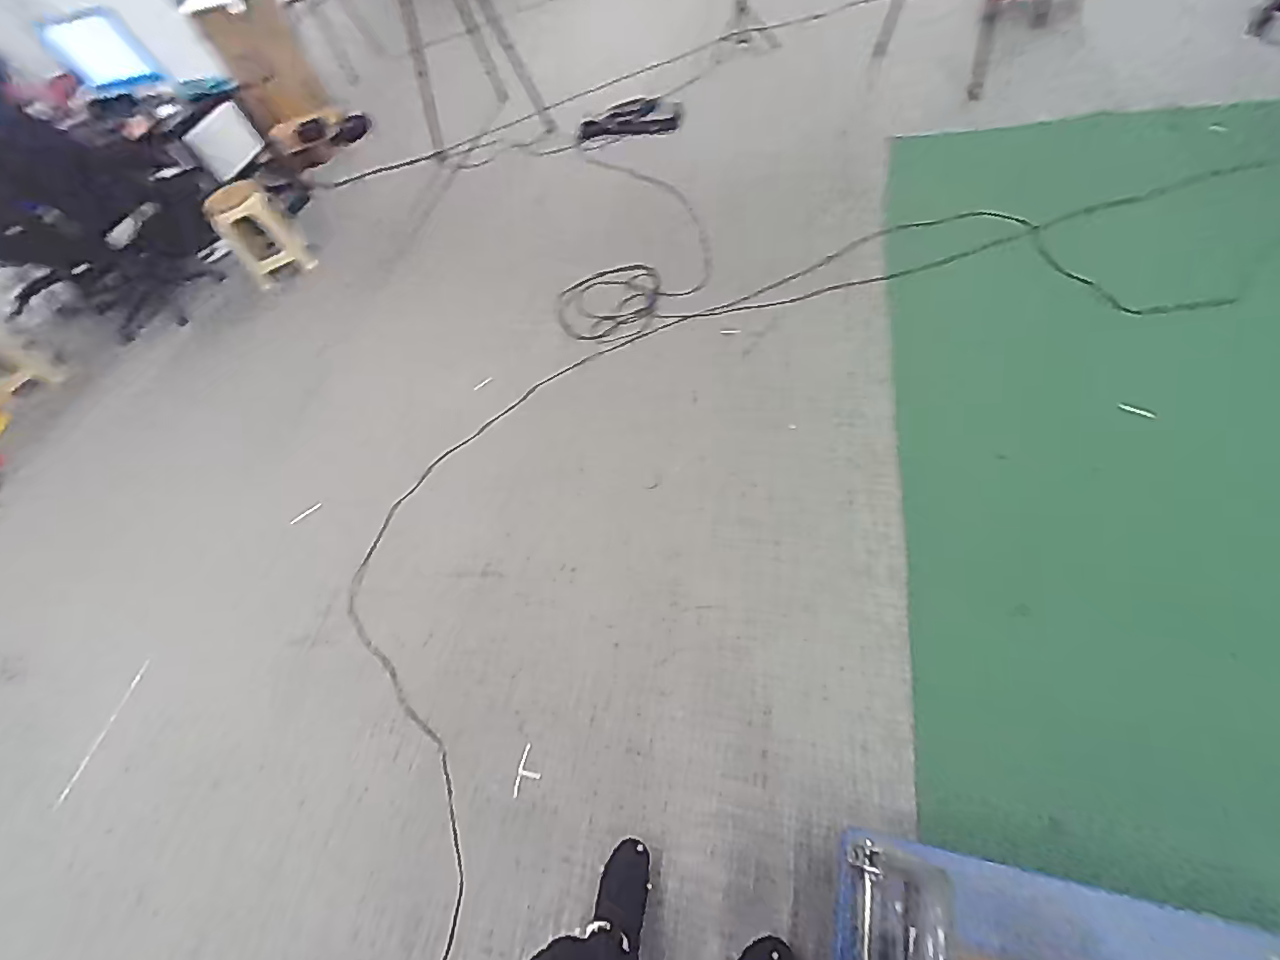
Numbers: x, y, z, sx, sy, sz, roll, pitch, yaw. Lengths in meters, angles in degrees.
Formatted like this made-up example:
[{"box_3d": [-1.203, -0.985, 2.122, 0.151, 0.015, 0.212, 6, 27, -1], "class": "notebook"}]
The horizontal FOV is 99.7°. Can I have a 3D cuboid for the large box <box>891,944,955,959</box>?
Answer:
[{"box_3d": [0.599, 0.922, 0.760, 0.408, 0.320, 0.320, 6, 59, 16], "class": "large box"}]
